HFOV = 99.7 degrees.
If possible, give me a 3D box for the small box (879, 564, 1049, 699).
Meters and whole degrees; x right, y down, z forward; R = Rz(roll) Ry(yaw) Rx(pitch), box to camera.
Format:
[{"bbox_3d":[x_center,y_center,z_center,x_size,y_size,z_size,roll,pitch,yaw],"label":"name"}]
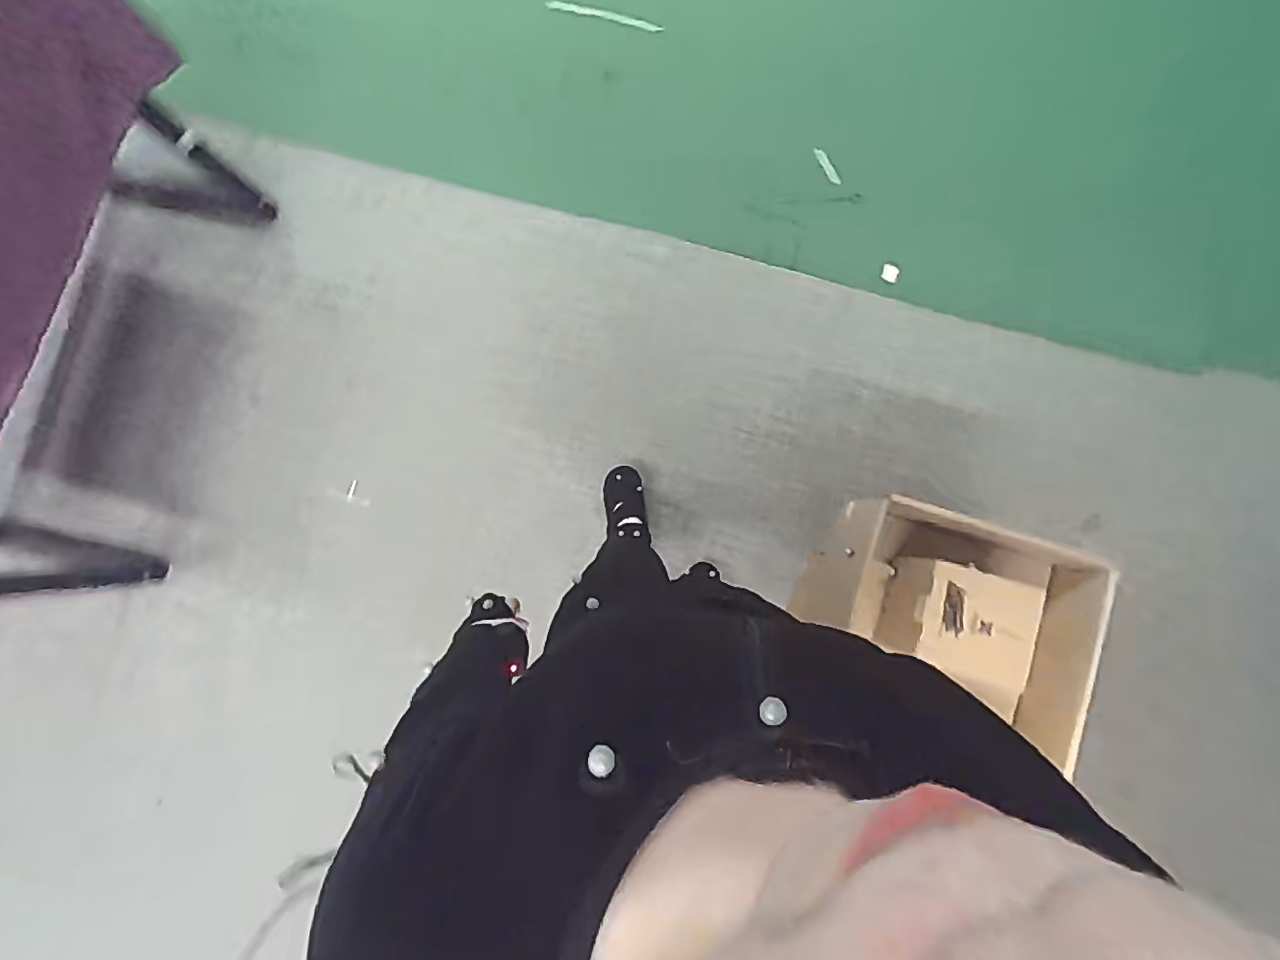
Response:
[{"bbox_3d":[0.535,0.245,0.920,0.179,0.176,0.168,17,85,4],"label":"small box"}]
